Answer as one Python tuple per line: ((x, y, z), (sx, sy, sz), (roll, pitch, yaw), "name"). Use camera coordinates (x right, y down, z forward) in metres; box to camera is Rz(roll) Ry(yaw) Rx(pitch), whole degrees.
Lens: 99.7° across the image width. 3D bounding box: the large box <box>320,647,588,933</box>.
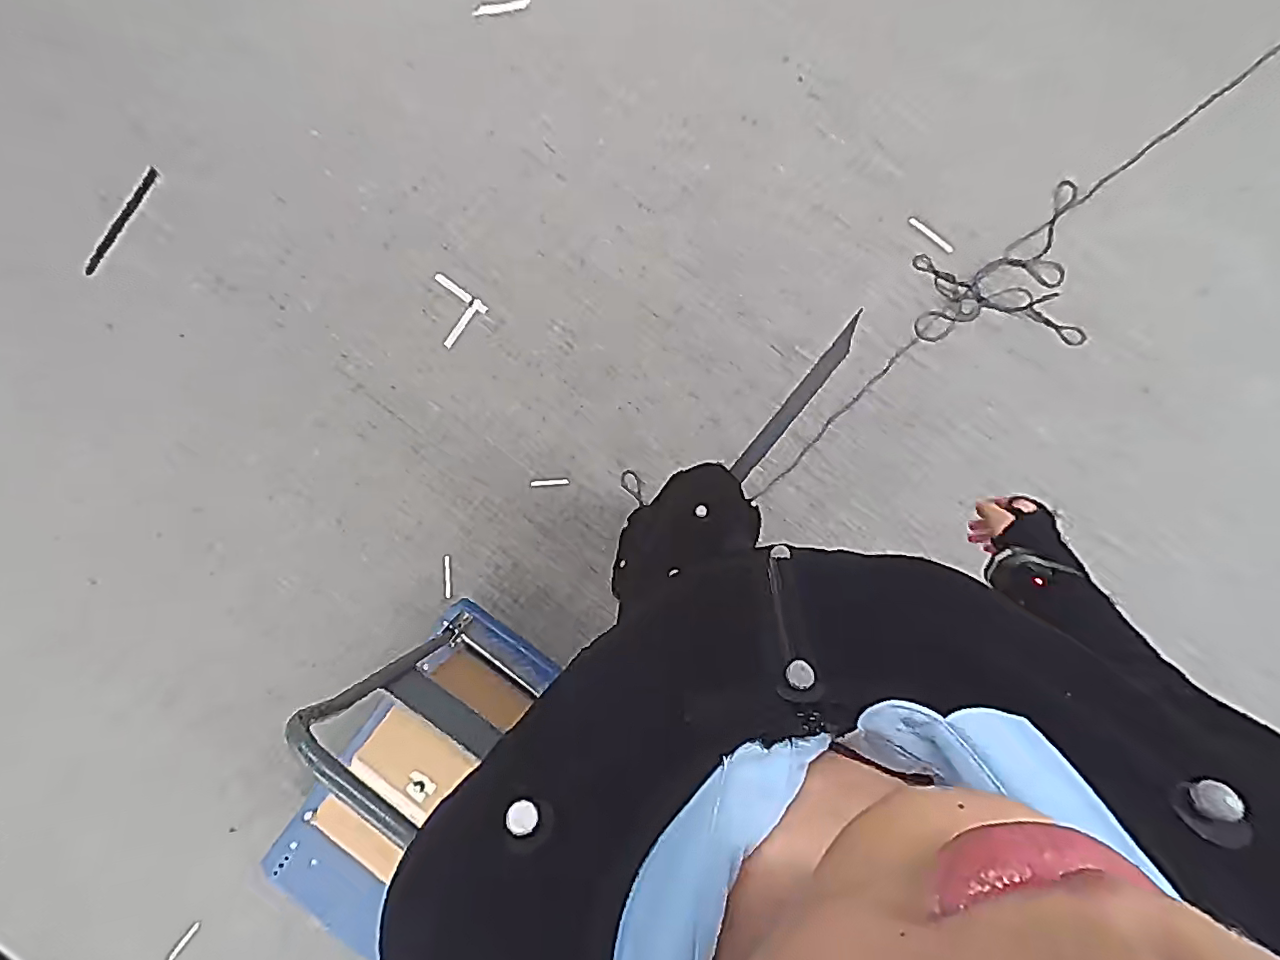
((-0.382, 0.653, 1.210), (0.408, 0.320, 0.320), (37, 92, 3), "large box")
